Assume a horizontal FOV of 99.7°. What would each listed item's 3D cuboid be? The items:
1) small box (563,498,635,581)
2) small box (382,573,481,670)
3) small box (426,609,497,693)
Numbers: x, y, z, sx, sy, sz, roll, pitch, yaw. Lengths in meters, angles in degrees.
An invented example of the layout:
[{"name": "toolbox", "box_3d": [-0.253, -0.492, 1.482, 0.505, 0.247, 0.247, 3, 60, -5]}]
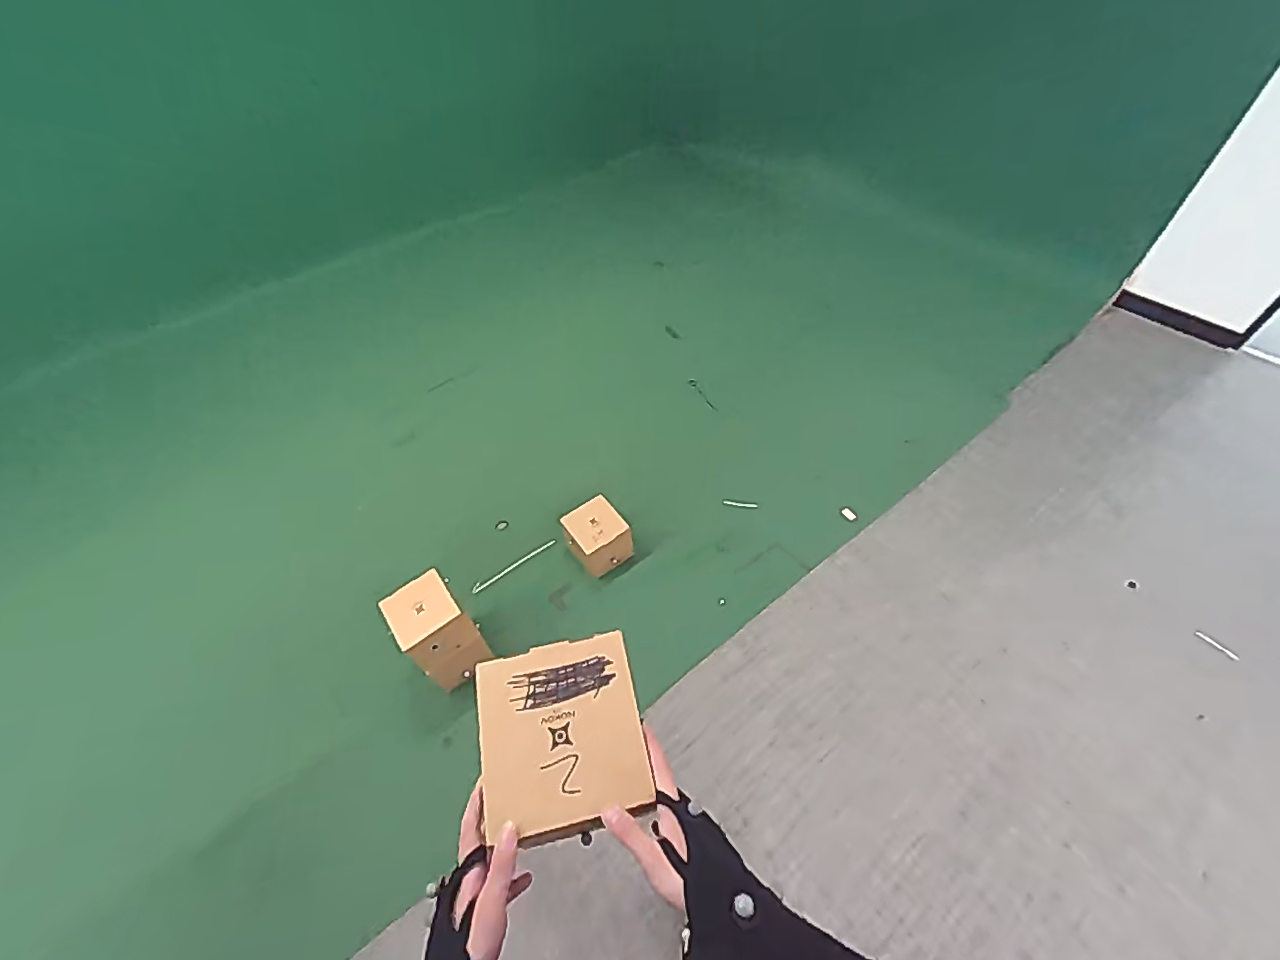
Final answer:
[{"name": "small box", "box_3d": [-0.133, 0.201, 1.797, 0.168, 0.176, 0.179, -31, 56, -19]}, {"name": "small box", "box_3d": [-0.562, 0.394, 1.476, 0.168, 0.176, 0.179, -34, 55, -19]}, {"name": "small box", "box_3d": [-0.551, 0.496, 1.601, 0.168, 0.176, 0.179, -34, 57, -19]}]
